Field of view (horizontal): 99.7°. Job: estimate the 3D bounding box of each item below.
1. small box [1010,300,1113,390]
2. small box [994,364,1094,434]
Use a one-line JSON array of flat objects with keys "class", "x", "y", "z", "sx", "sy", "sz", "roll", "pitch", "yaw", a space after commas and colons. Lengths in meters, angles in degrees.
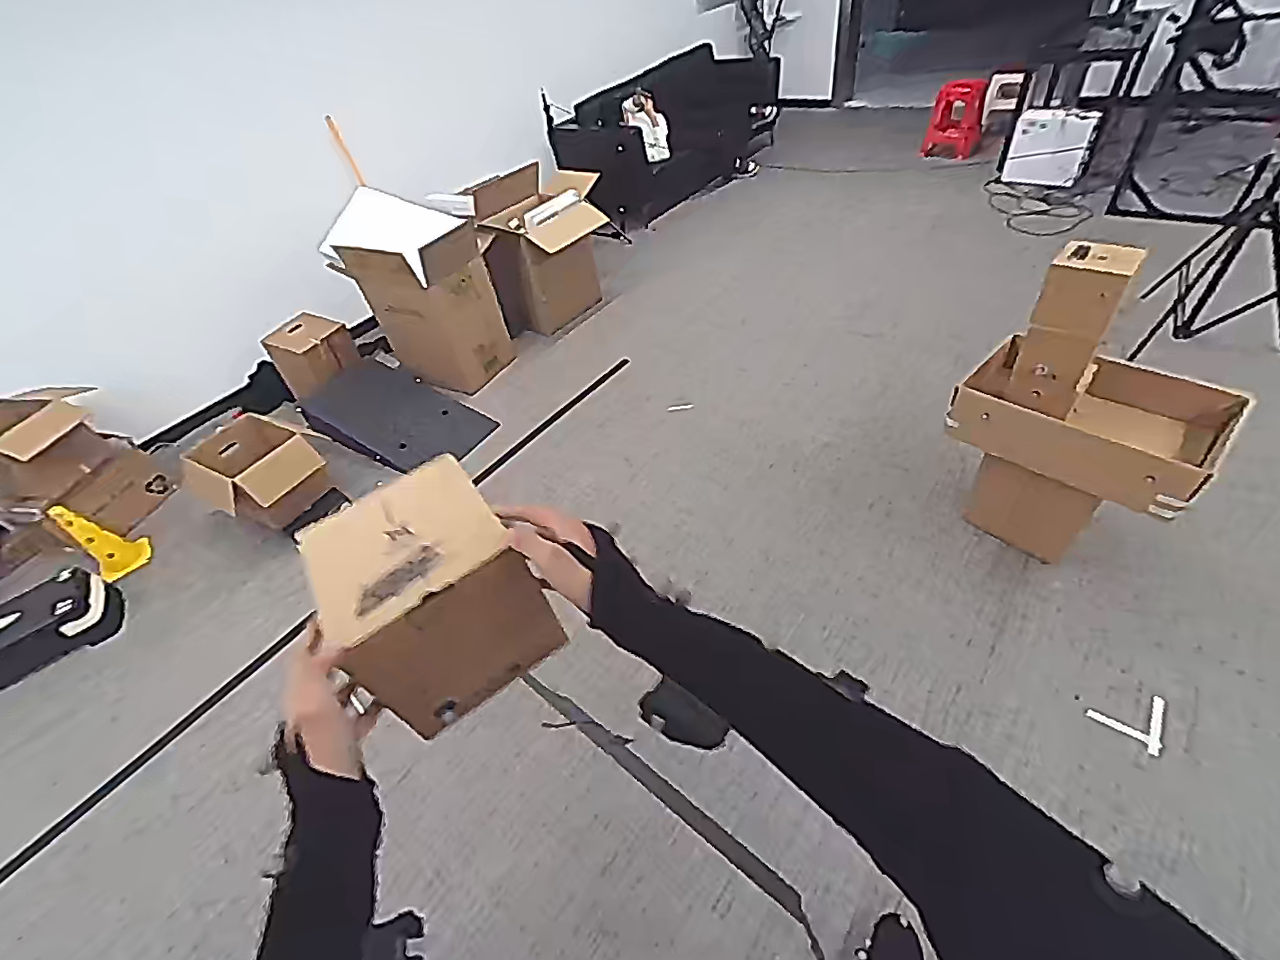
[{"class": "small box", "x": 1.198, "y": -0.387, "z": 1.547, "sx": 0.168, "sy": 0.176, "sz": 0.179, "roll": 28, "pitch": 55, "yaw": 34}, {"class": "small box", "x": 1.226, "y": -0.267, "z": 1.655, "sx": 0.179, "sy": 0.176, "sz": 0.168, "roll": 32, "pitch": 58, "yaw": 34}]
